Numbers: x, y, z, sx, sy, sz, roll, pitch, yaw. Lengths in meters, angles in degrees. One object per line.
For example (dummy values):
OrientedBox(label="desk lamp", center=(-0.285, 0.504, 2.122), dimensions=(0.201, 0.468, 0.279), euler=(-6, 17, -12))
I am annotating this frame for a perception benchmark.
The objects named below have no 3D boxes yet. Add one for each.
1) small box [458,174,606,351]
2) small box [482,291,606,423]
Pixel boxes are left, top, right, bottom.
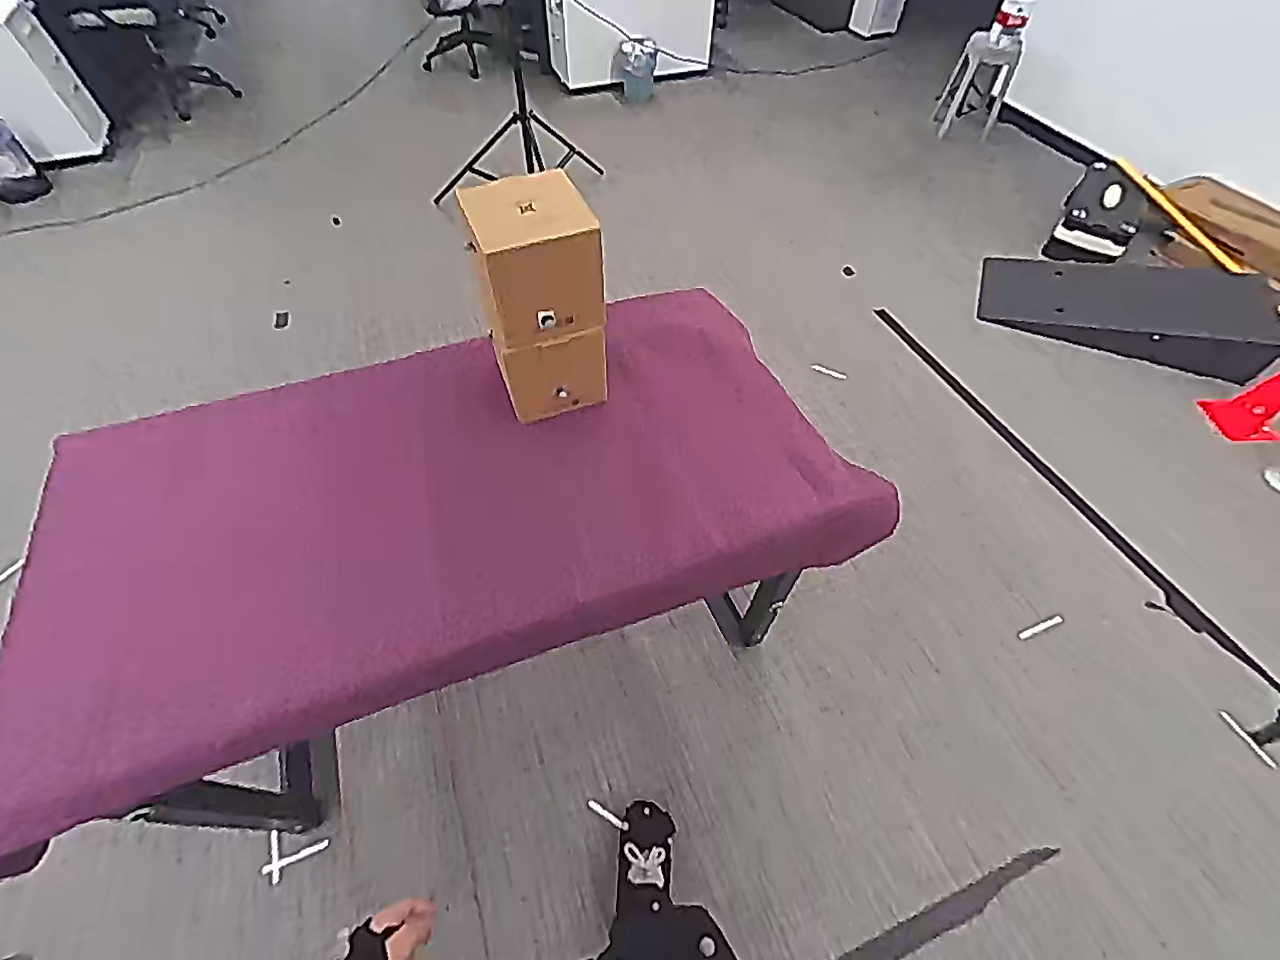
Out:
OrientedBox(label="small box", center=(-0.159, -0.330, 0.825), dimensions=(0.168, 0.176, 0.179), euler=(-20, 59, -14))
OrientedBox(label="small box", center=(-0.165, -0.231, 0.954), dimensions=(0.168, 0.176, 0.179), euler=(-18, 58, -13))
